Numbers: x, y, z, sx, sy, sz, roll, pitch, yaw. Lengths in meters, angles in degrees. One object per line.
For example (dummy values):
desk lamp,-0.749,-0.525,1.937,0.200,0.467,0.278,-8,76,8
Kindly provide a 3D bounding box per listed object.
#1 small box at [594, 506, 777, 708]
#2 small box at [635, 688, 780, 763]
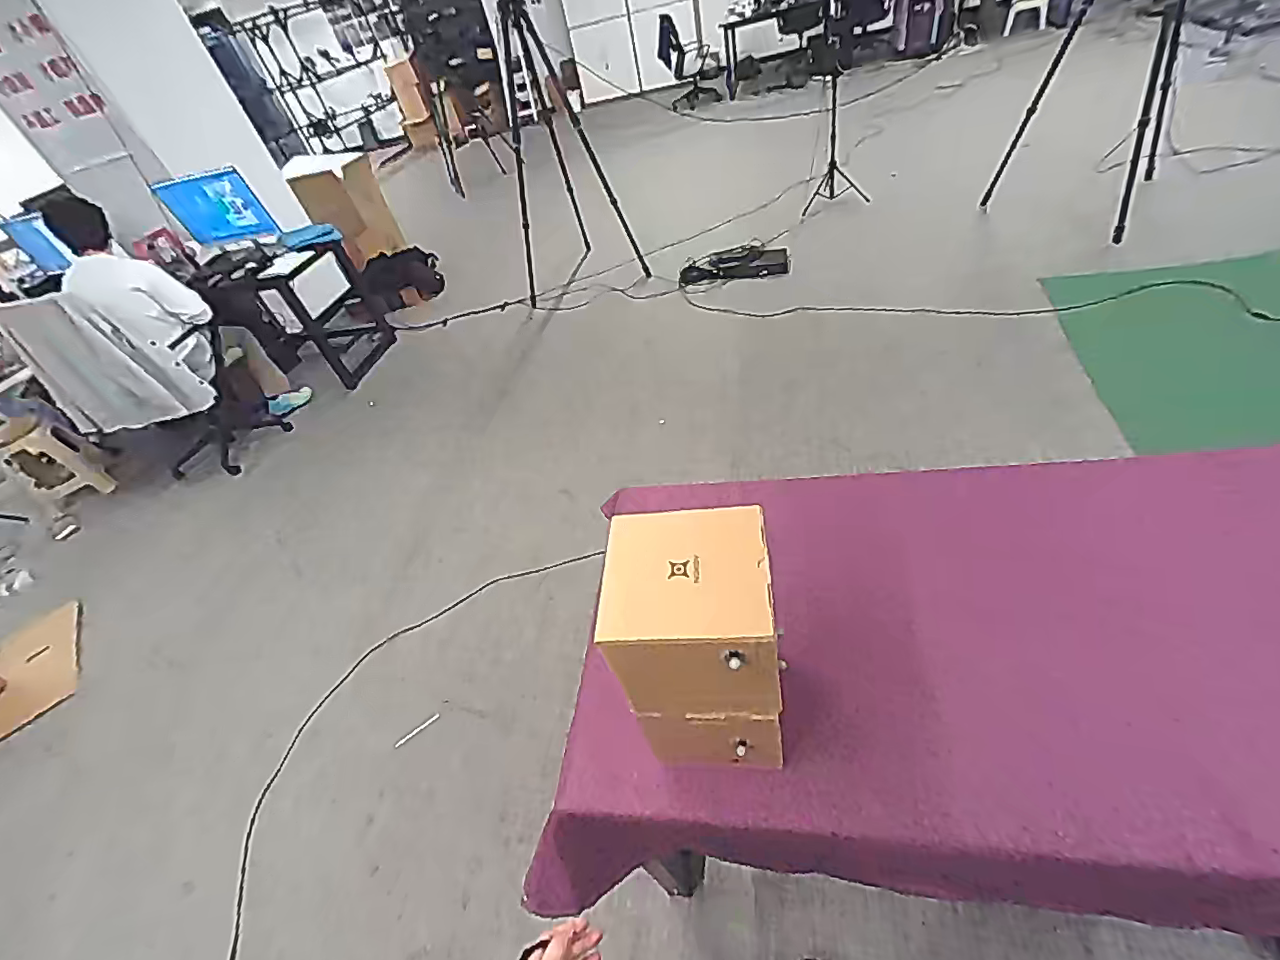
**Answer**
small box,0.061,0.150,0.622,0.179,0.176,0.168,-4,45,10
small box,0.098,0.264,0.732,0.168,0.176,0.179,-4,44,12
